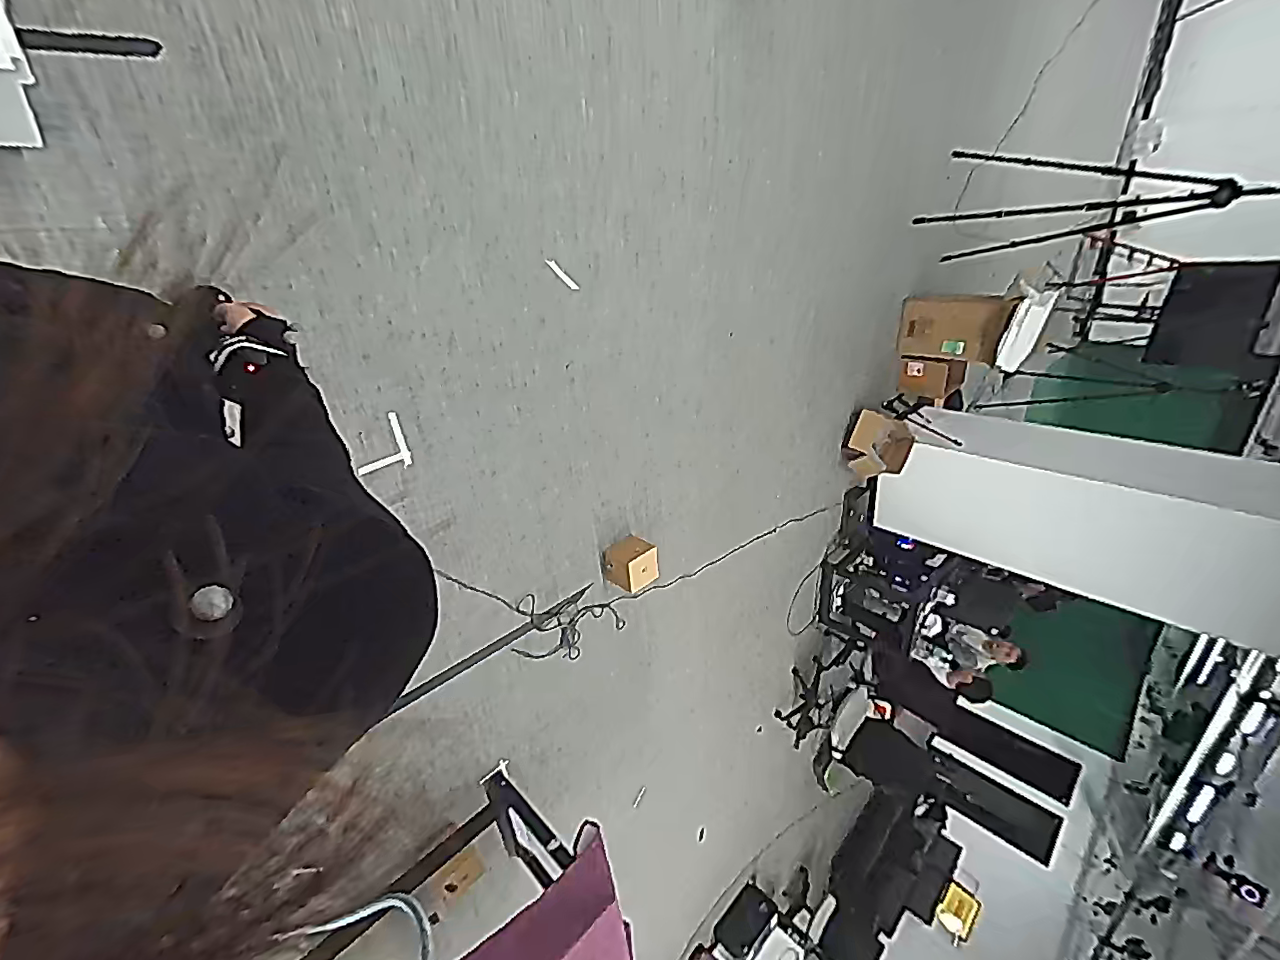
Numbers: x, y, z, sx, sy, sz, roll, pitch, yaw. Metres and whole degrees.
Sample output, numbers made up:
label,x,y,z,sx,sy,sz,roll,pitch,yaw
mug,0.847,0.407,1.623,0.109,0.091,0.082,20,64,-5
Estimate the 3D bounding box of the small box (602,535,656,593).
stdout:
label,x,y,z,sx,sy,sz,roll,pitch,yaw
small box,-0.050,0.372,2.435,0.179,0.176,0.168,-26,122,-37
